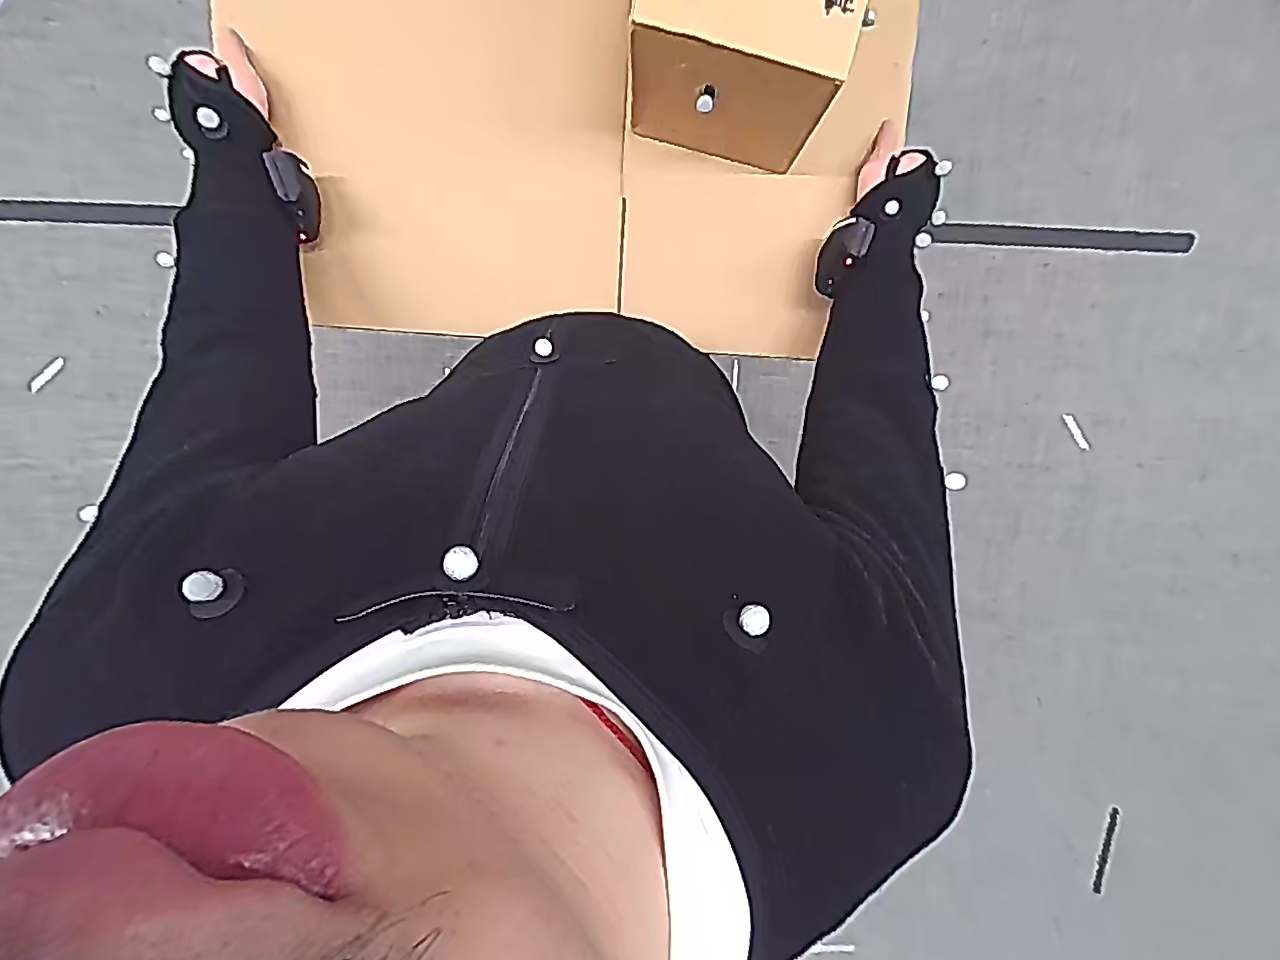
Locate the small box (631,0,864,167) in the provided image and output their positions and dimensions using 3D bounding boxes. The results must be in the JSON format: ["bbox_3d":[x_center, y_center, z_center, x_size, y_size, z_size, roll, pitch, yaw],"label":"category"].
[{"bbox_3d":[0.097,-0.422,0.496,0.179,0.176,0.168,14,97,-2],"label":"small box"}]
